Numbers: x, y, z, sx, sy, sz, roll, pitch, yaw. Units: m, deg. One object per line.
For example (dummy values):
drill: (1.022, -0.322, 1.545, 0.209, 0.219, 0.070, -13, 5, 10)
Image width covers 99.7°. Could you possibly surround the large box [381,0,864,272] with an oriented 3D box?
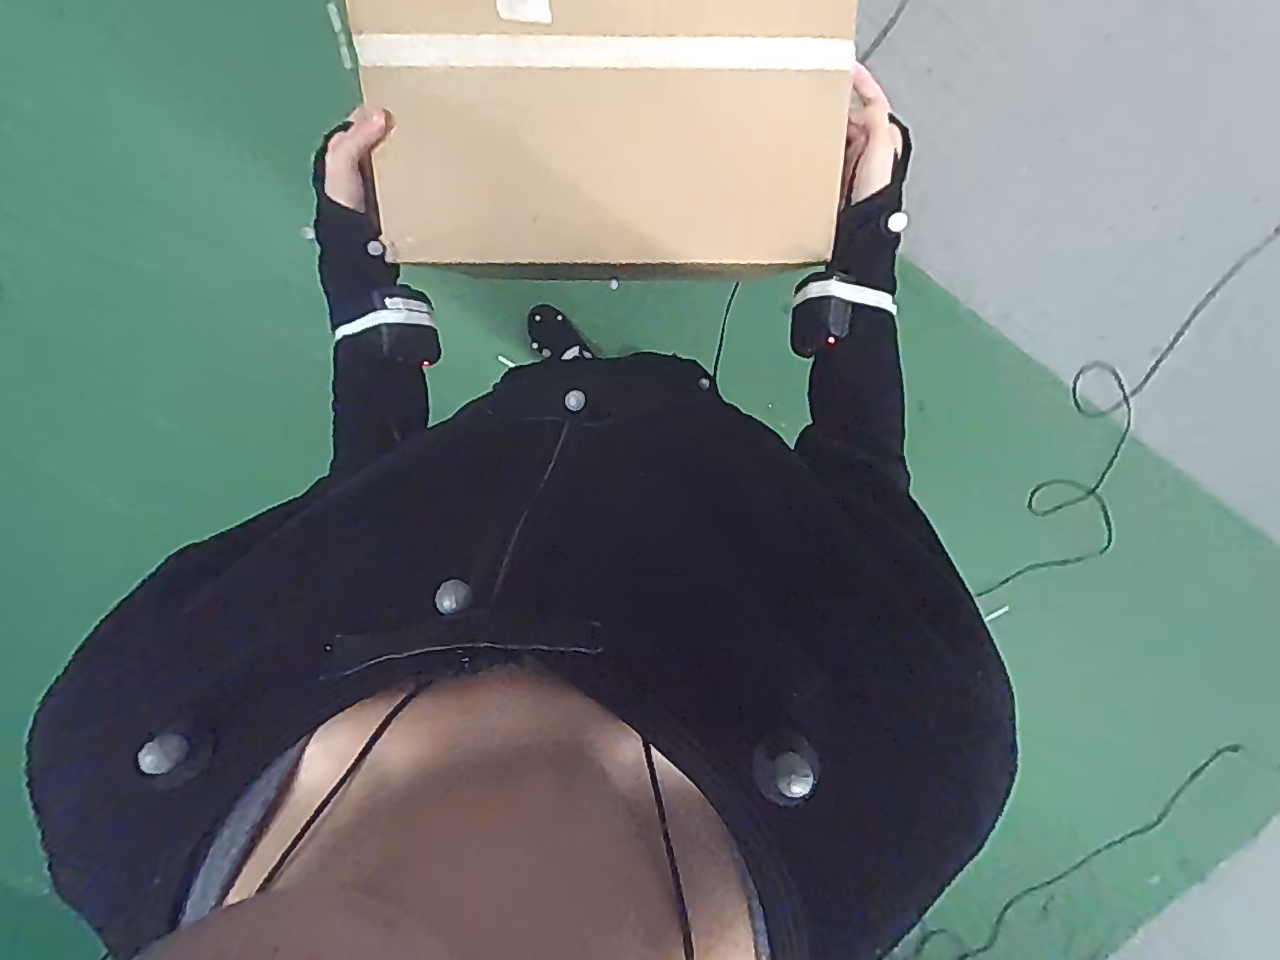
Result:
large box: (-0.015, -0.399, 0.597, 0.408, 0.320, 0.320, 1, 107, -1)
